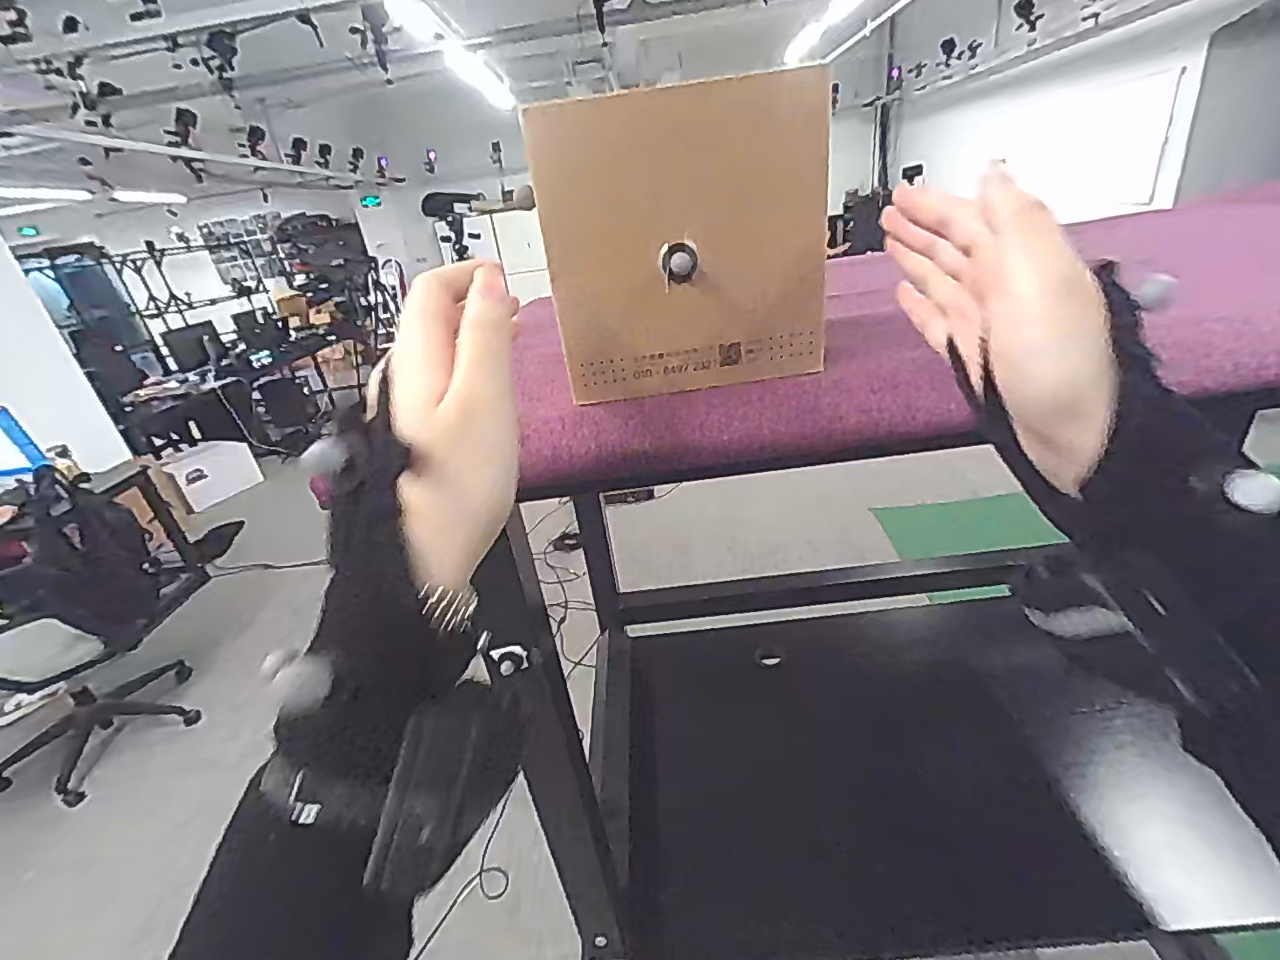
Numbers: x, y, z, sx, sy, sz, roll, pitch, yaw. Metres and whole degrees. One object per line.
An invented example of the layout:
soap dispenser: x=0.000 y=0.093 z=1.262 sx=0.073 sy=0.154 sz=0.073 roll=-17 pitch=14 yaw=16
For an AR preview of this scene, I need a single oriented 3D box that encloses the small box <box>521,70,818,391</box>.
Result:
small box: x=0.022 y=-0.169 z=0.396 sx=0.168 sy=0.176 sz=0.179 roll=-7 pitch=26 yaw=0
